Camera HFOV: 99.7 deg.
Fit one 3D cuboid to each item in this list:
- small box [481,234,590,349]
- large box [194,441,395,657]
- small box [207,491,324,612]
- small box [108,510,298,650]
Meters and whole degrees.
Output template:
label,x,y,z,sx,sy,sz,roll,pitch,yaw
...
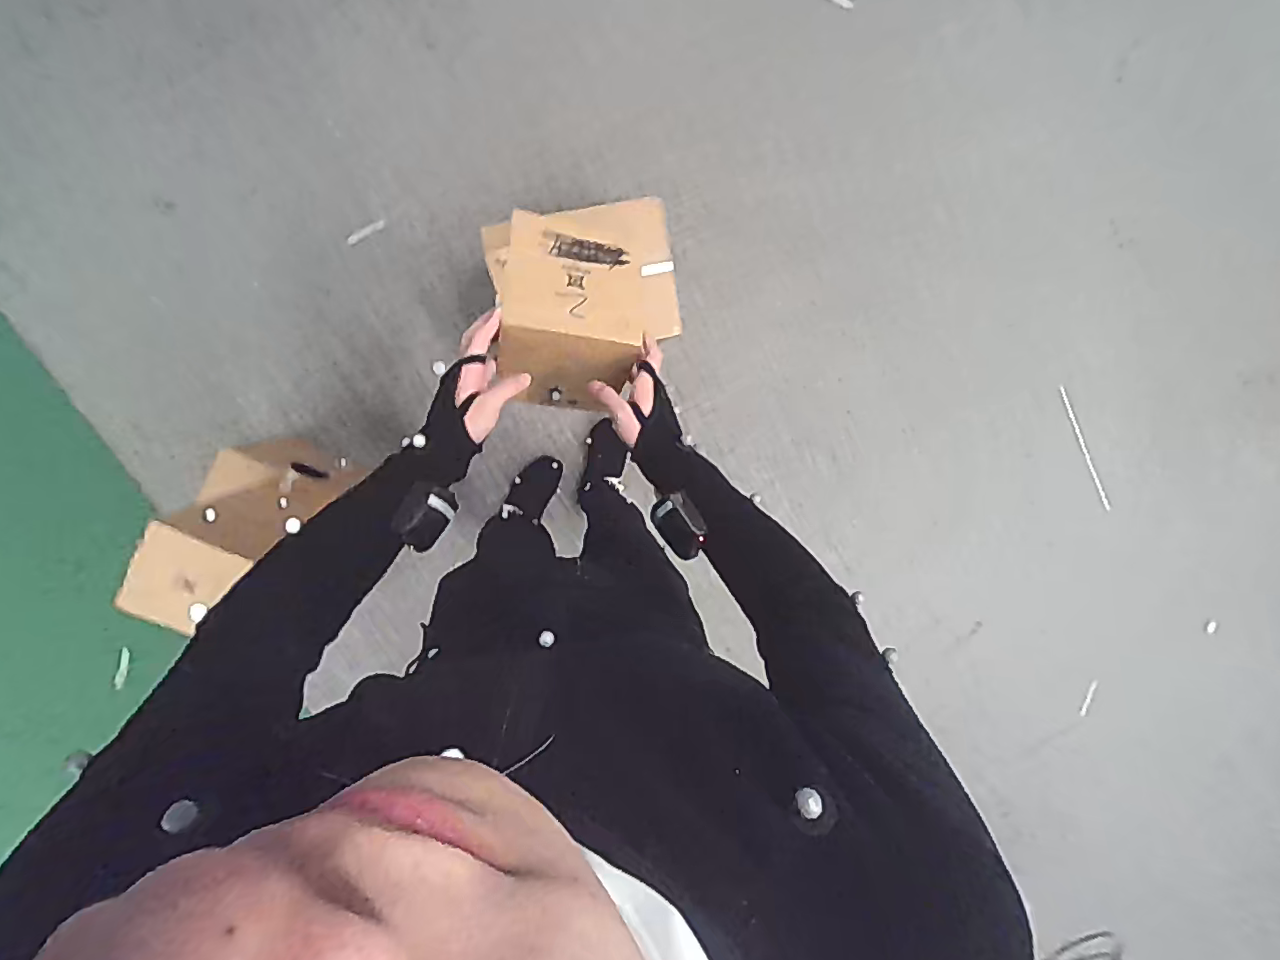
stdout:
label,x,y,z,sx,sy,sz,roll,pitch,yaw
small box,-0.210,-0.380,1.121,0.168,0.176,0.179,-20,103,-5
large box,-0.886,0.152,1.368,0.320,0.320,0.408,26,96,-9
small box,-0.794,0.140,1.126,0.168,0.176,0.179,26,95,-11
small box,-0.765,0.167,0.968,0.179,0.176,0.168,28,95,-12
